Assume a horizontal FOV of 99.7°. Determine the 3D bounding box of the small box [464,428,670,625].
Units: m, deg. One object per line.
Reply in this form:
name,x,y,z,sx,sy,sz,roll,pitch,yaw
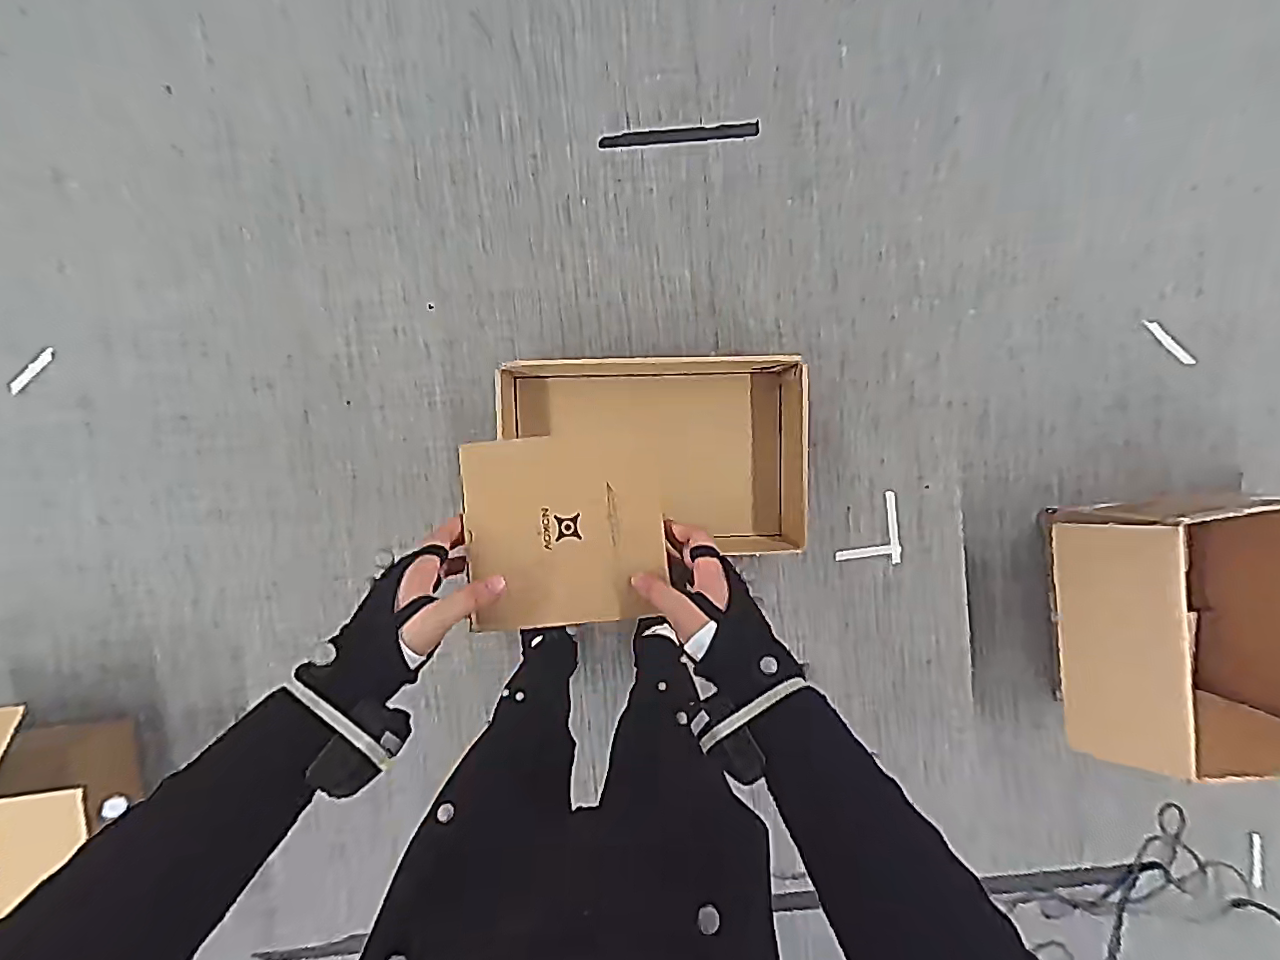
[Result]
small box,-0.066,0.047,0.558,0.179,0.176,0.168,-5,86,-2
